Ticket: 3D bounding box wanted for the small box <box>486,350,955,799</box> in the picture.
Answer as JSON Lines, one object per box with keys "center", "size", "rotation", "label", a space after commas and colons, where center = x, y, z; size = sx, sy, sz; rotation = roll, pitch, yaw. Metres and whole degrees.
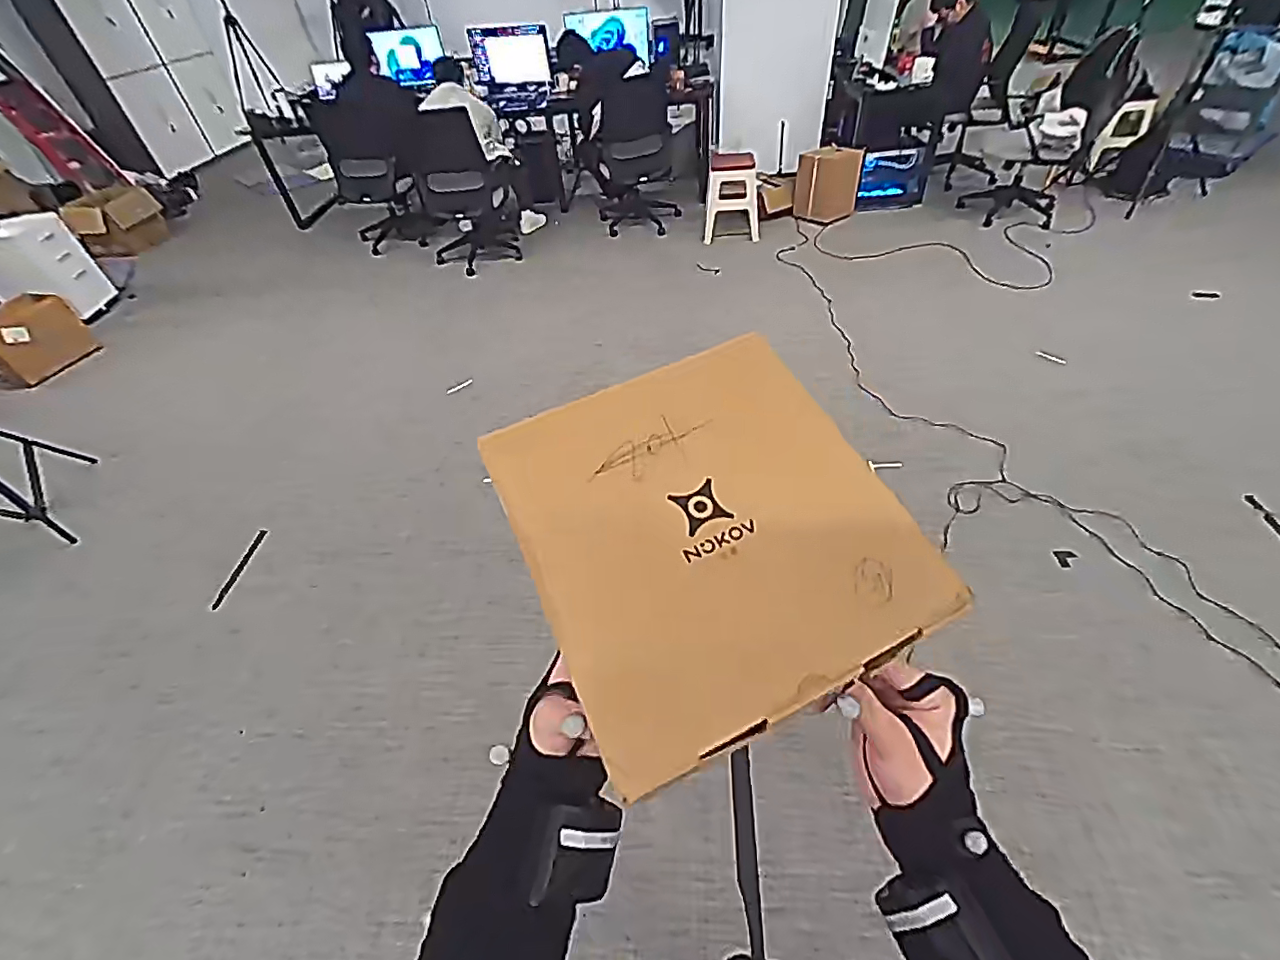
{"center": [0.031, 0.061, 0.325], "size": [0.168, 0.176, 0.179], "rotation": [-23, 61, -14], "label": "small box"}
